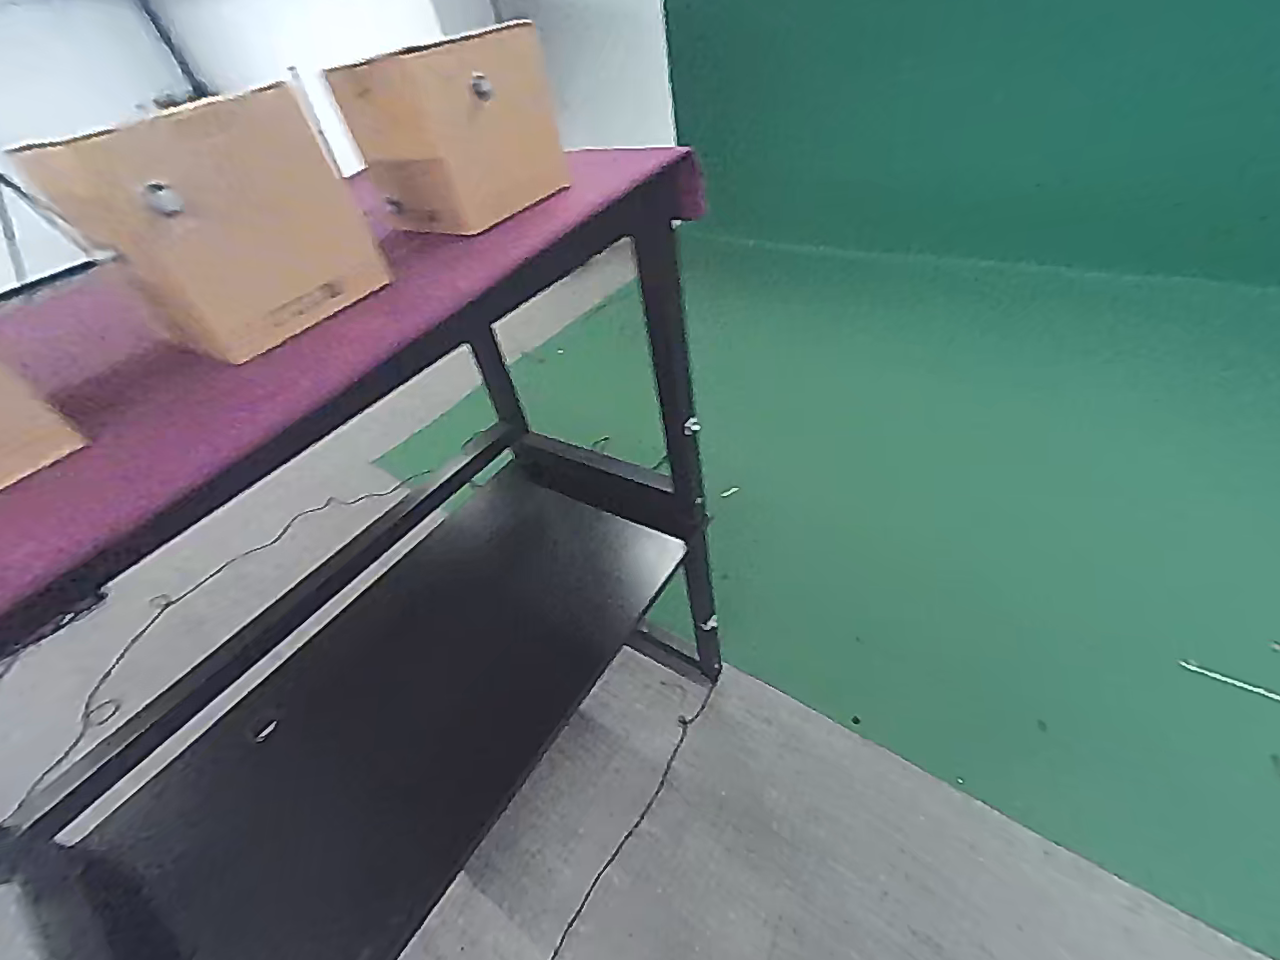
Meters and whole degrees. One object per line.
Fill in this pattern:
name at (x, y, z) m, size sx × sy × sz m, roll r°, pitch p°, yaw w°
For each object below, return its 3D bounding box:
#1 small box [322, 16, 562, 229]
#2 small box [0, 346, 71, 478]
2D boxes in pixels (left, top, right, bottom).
small box at (-0.217, -0.412, 0.638) m, size 0.168 × 0.176 × 0.179 m, roll 20°, pitch 51°, yaw 31°
small box at (-0.527, -0.065, 0.339) m, size 0.179 × 0.176 × 0.168 m, roll 21°, pitch 51°, yaw 32°
